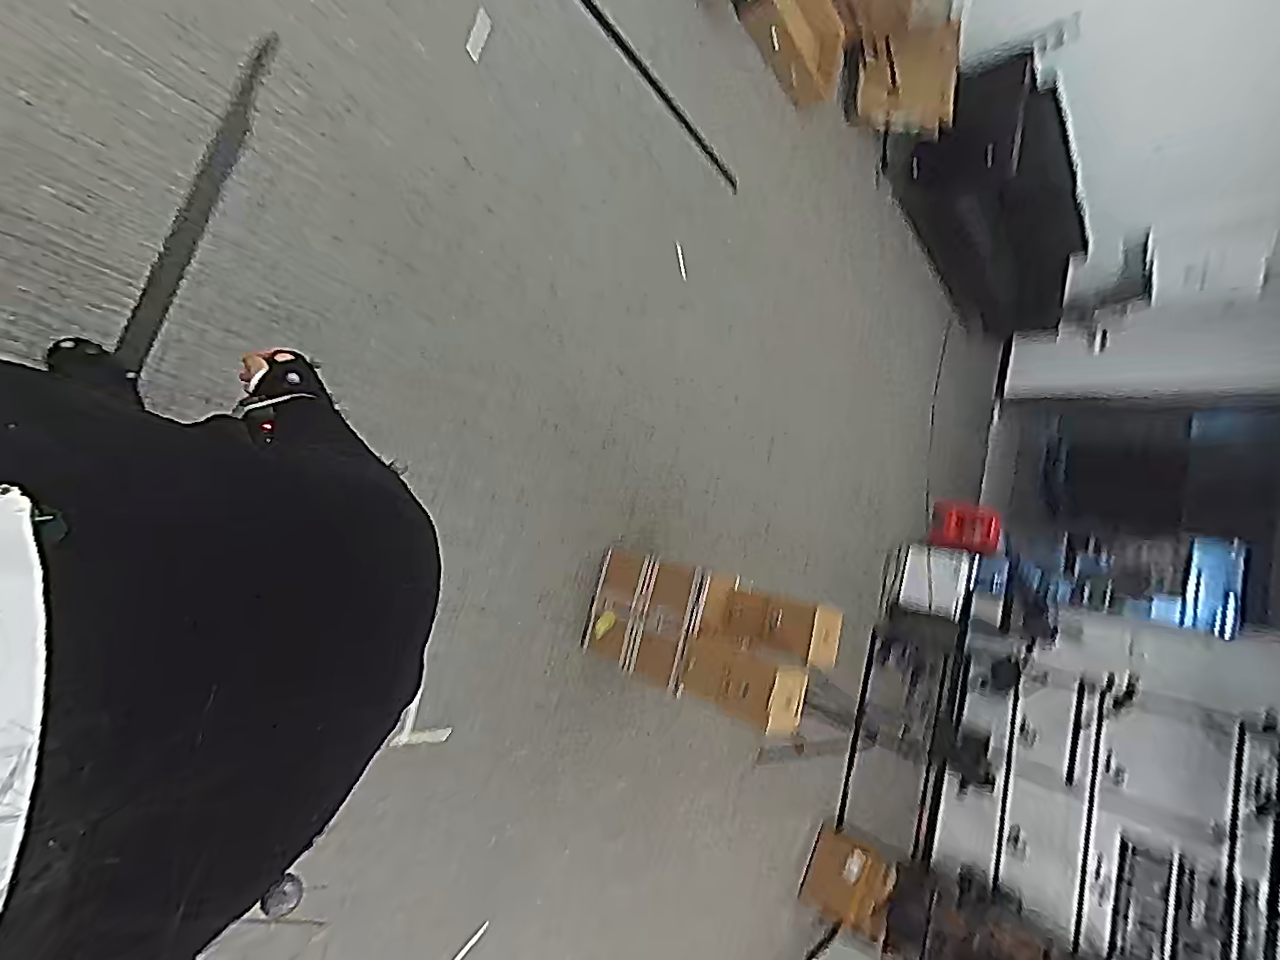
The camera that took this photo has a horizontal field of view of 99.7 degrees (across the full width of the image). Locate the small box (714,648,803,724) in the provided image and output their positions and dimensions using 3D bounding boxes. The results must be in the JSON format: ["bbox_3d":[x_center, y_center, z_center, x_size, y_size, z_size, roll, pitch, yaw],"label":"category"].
[{"bbox_3d":[0.339,0.590,1.558,0.179,0.176,0.168,21,79,-42],"label":"small box"}]

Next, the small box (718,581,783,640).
[{"bbox_3d":[0.393,0.445,1.824,0.179,0.176,0.168,22,77,-42],"label":"small box"}]

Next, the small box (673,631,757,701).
[{"bbox_3d":[0.232,0.574,1.681,0.179,0.176,0.168,19,80,-42],"label":"small box"}]

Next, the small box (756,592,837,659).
[{"bbox_3d":[0.490,0.453,1.692,0.179,0.176,0.168,21,77,-42],"label":"small box"}]
